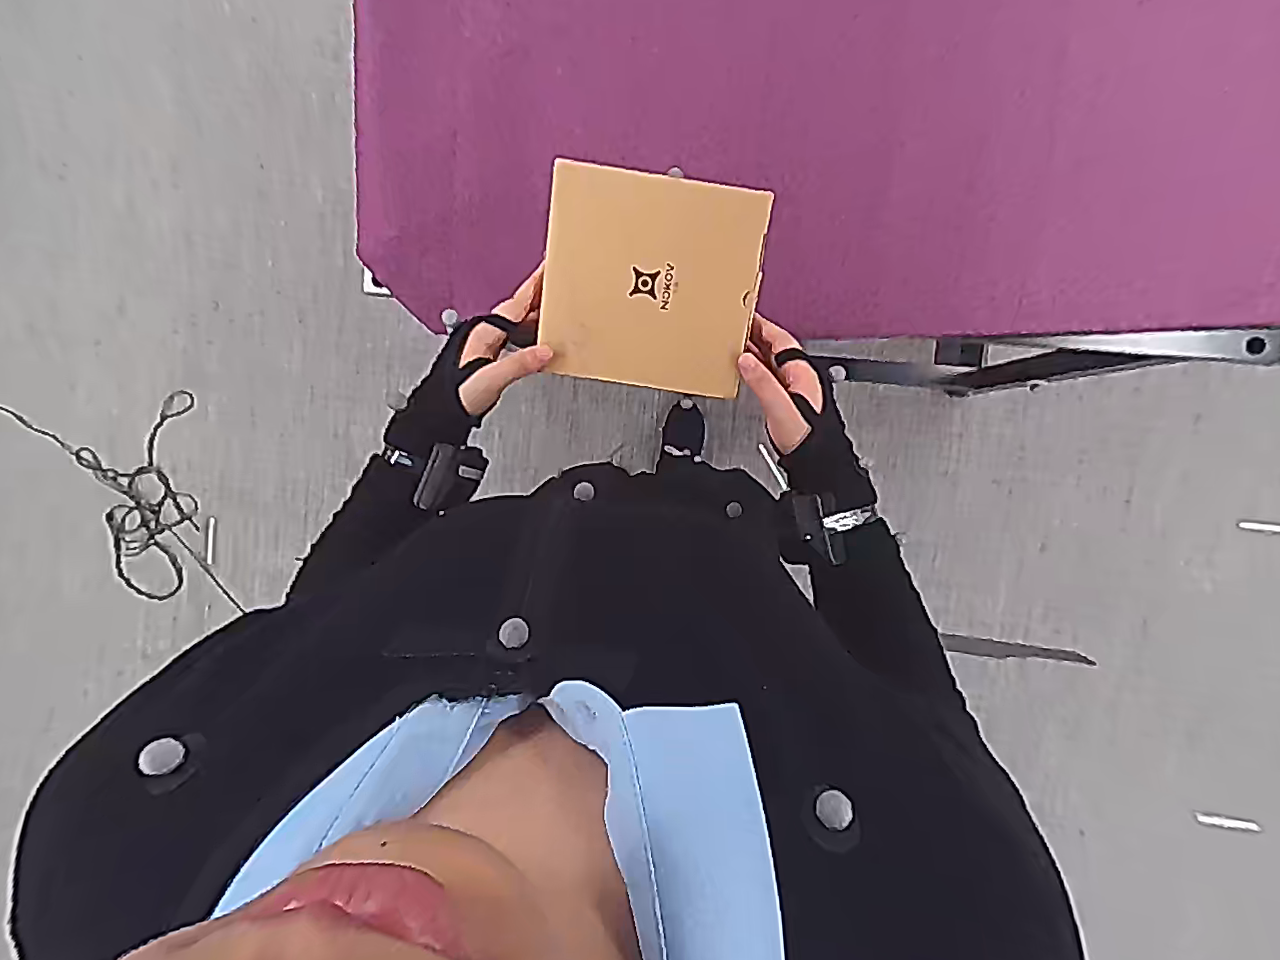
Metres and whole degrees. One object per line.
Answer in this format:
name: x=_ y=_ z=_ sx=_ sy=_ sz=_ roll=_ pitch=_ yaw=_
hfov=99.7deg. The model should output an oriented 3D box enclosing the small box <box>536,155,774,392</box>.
small box: x=0.009 y=-0.179 z=0.514 sx=0.179 sy=0.176 sz=0.168 roll=7 pitch=102 yaw=-3
